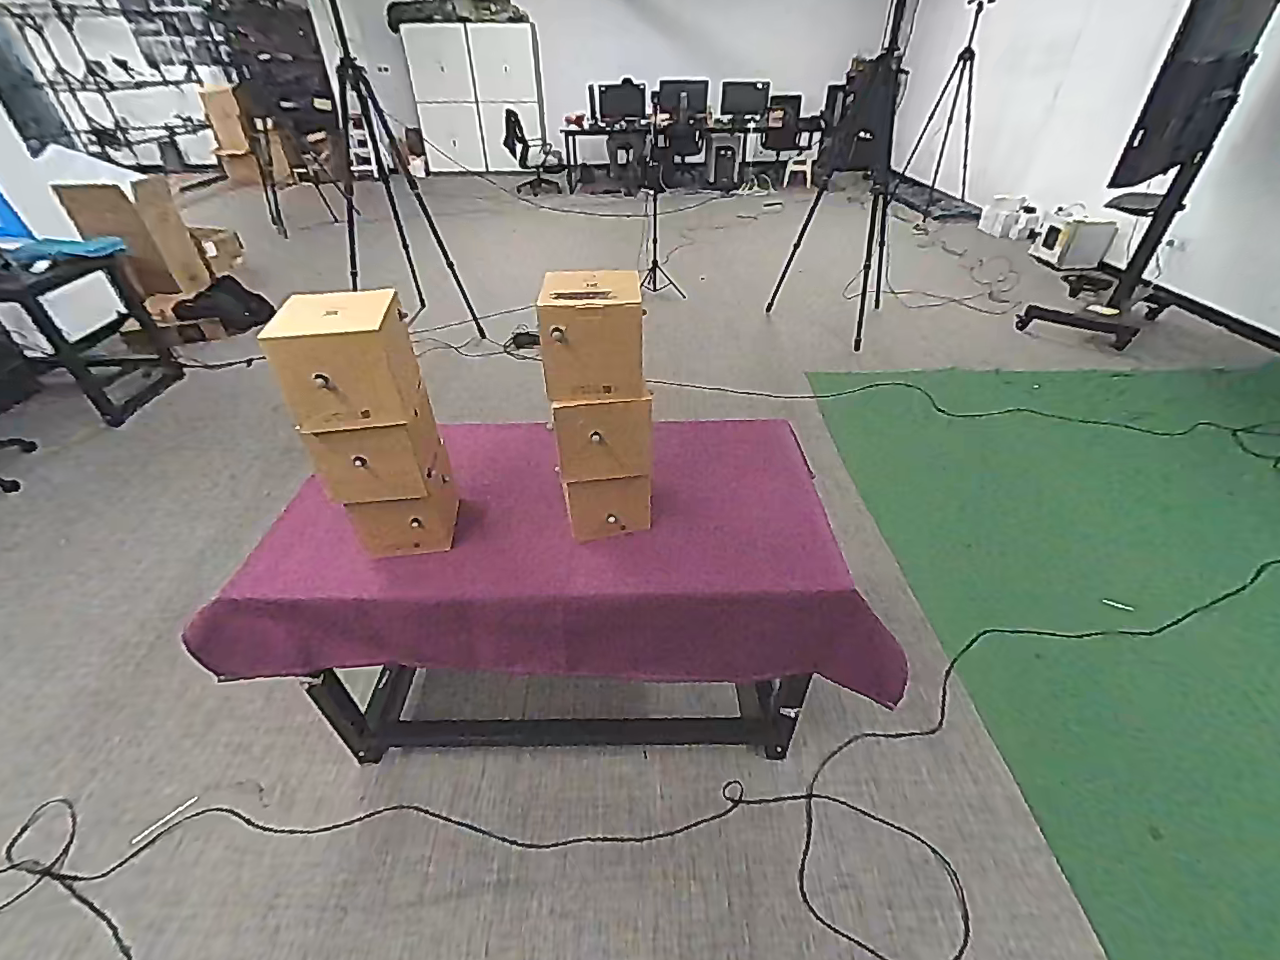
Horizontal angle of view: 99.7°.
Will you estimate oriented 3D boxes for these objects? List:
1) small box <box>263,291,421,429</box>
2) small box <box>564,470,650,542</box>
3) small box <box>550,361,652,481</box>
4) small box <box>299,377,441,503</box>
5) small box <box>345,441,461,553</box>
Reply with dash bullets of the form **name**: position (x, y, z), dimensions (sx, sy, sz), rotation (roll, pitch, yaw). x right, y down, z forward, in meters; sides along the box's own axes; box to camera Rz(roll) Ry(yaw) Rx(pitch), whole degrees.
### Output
- **small box**: position (-0.473, -0.195, 0.893), dimensions (0.168, 0.176, 0.179), rotation (-7, 38, -9)
- **small box**: position (-0.077, 0.006, 1.154), dimensions (0.168, 0.176, 0.179), rotation (-9, 39, -9)
- **small box**: position (-0.074, -0.111, 1.037), dimensions (0.179, 0.176, 0.168), rotation (-5, 39, -6)
- **small box**: position (-0.482, -0.074, 1.002), dimensions (0.179, 0.176, 0.168), rotation (-5, 38, -5)
- **small box**: position (-0.480, 0.039, 1.123), dimensions (0.168, 0.176, 0.179), rotation (-4, 37, -6)
